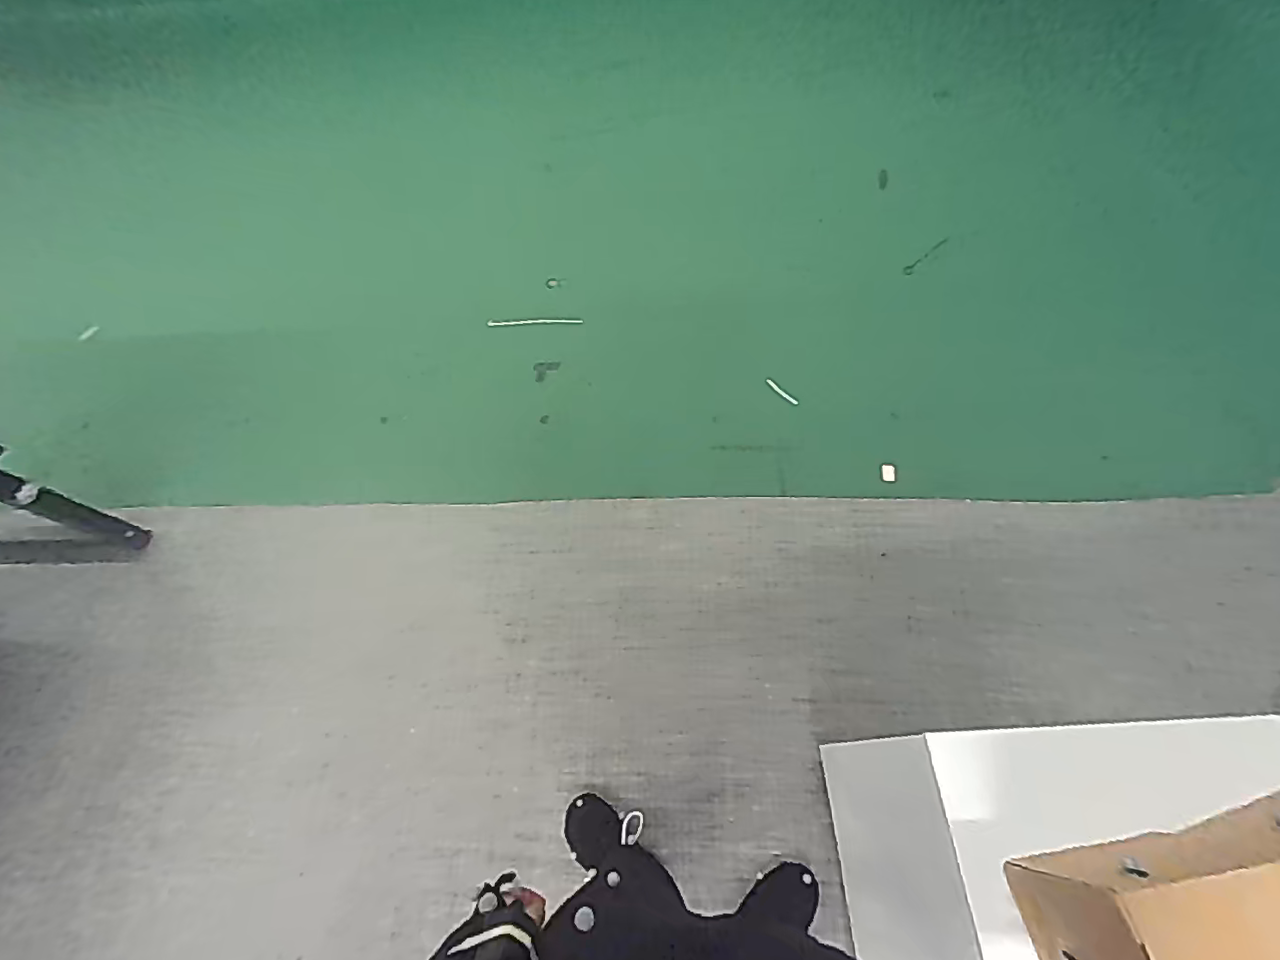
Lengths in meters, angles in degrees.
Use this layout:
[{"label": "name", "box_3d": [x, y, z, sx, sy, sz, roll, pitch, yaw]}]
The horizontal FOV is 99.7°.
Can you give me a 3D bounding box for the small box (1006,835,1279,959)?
[{"label": "small box", "box_3d": [0.468, 0.417, 0.457, 0.179, 0.176, 0.168, -10, 61, -3]}]
